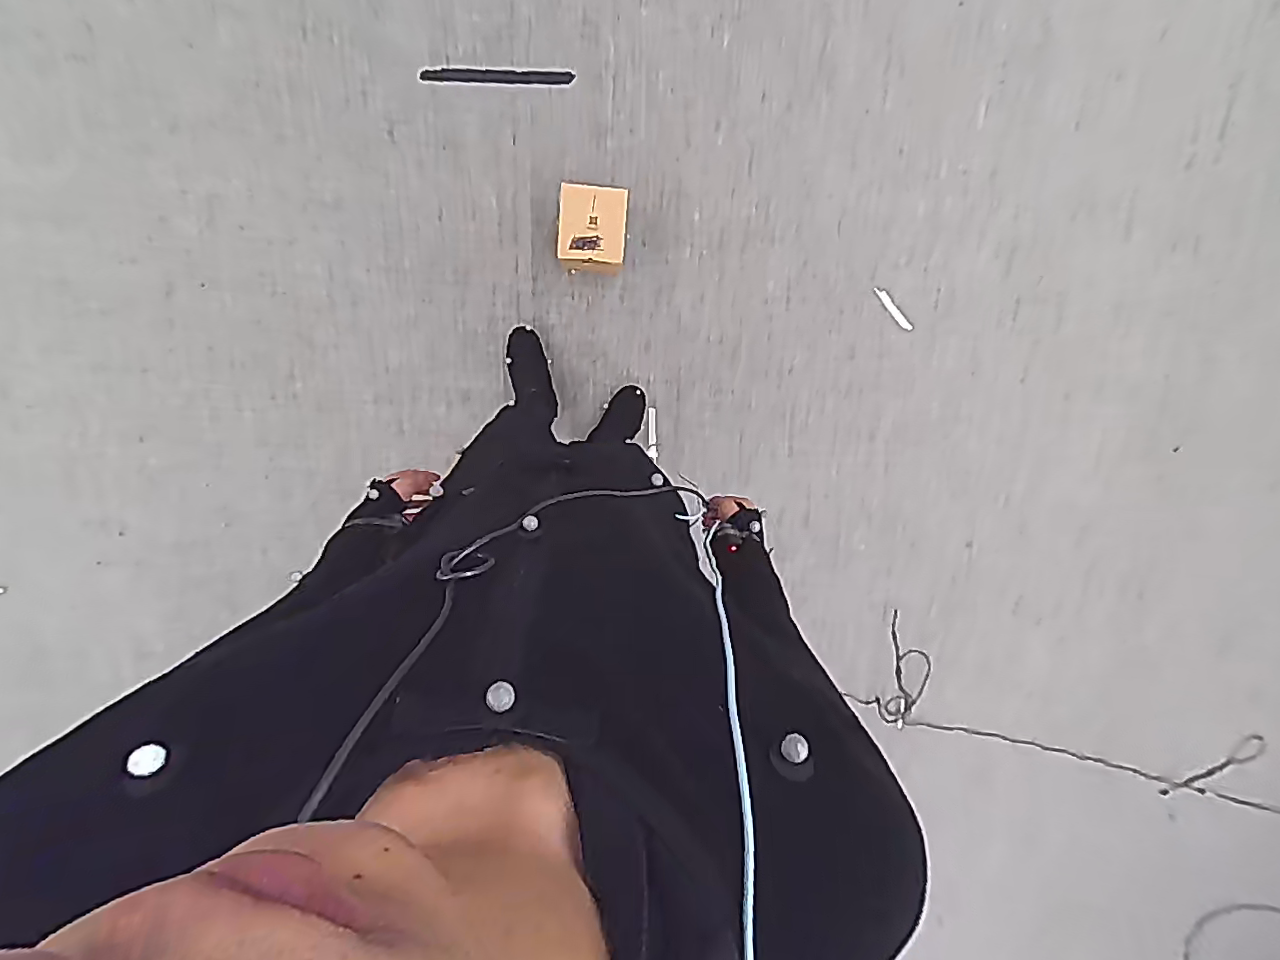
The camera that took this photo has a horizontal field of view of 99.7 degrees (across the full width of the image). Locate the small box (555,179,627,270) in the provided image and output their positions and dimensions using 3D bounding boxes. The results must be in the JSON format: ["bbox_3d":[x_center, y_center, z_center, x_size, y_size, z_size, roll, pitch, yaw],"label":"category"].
[{"bbox_3d":[-0.124,-0.652,1.401,0.168,0.176,0.179,4,102,-4],"label":"small box"}]
